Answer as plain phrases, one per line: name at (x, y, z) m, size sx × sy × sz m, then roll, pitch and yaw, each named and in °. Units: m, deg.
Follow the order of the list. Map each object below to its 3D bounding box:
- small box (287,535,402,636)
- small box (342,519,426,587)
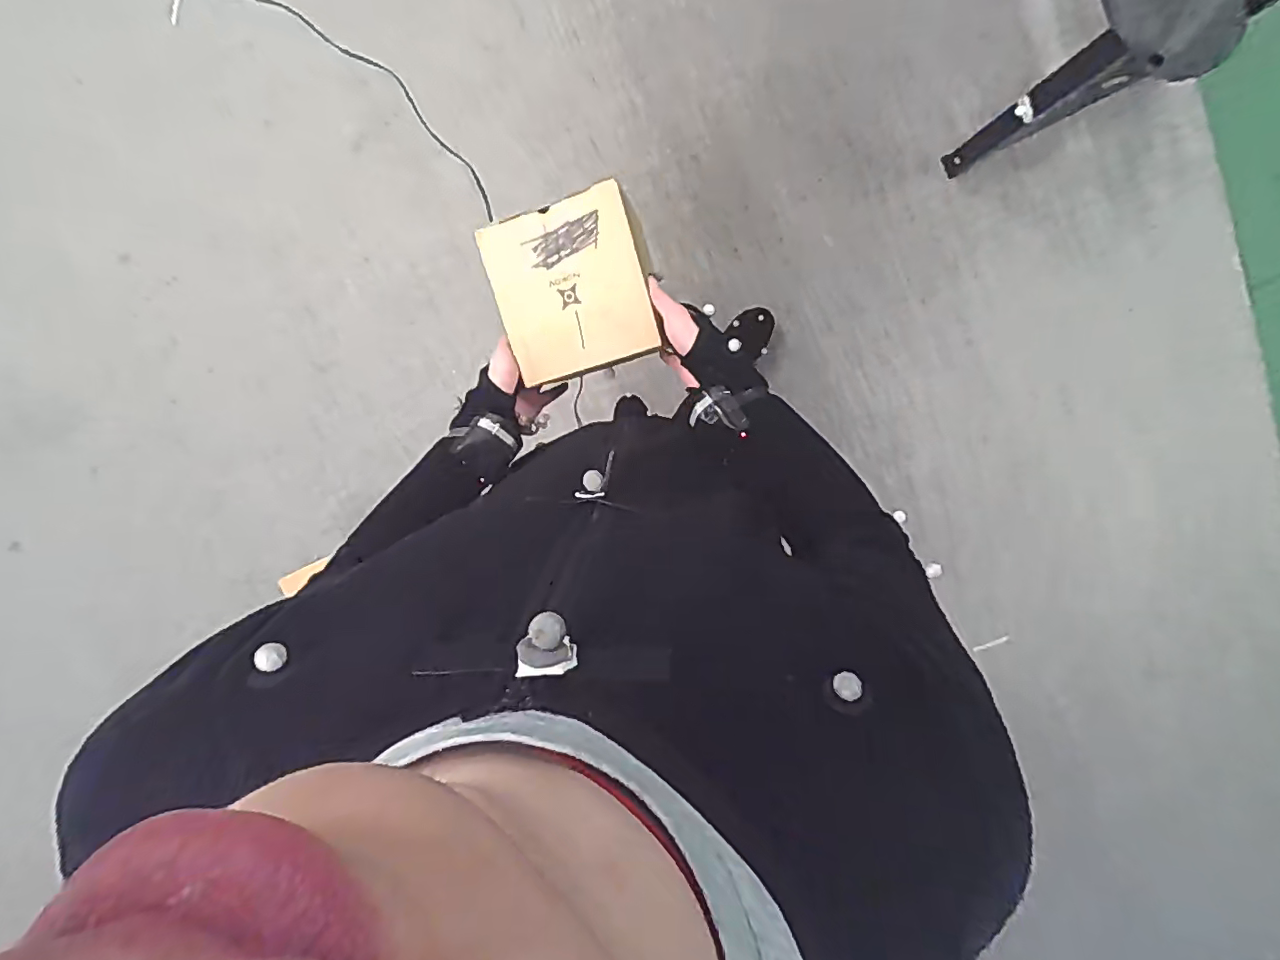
small box at (-0.745, 0.264, 1.394) m, size 0.179 × 0.176 × 0.168 m, roll -25°, pitch 99°, yaw 8°
small box at (-0.742, 0.231, 1.553) m, size 0.179 × 0.176 × 0.168 m, roll -26°, pitch 100°, yaw 7°
